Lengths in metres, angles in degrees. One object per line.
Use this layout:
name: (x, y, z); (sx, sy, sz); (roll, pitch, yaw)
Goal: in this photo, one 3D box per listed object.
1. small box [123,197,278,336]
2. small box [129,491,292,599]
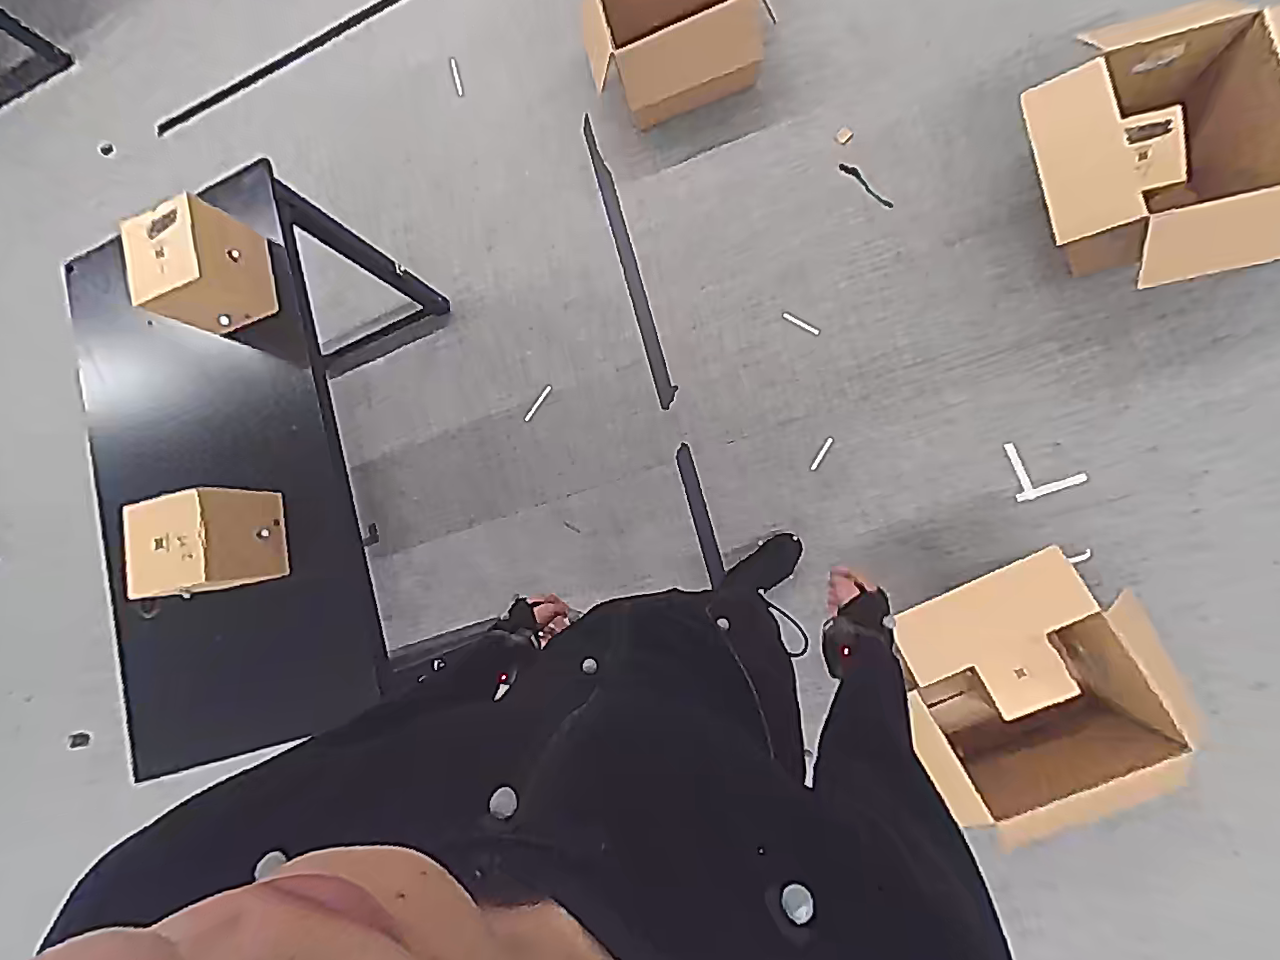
small box: (-0.867, -0.415, 1.078); (0.168, 0.176, 0.179); (-16, 83, 12)
small box: (-0.801, 0.121, 1.018); (0.179, 0.176, 0.168); (-13, 83, 12)
